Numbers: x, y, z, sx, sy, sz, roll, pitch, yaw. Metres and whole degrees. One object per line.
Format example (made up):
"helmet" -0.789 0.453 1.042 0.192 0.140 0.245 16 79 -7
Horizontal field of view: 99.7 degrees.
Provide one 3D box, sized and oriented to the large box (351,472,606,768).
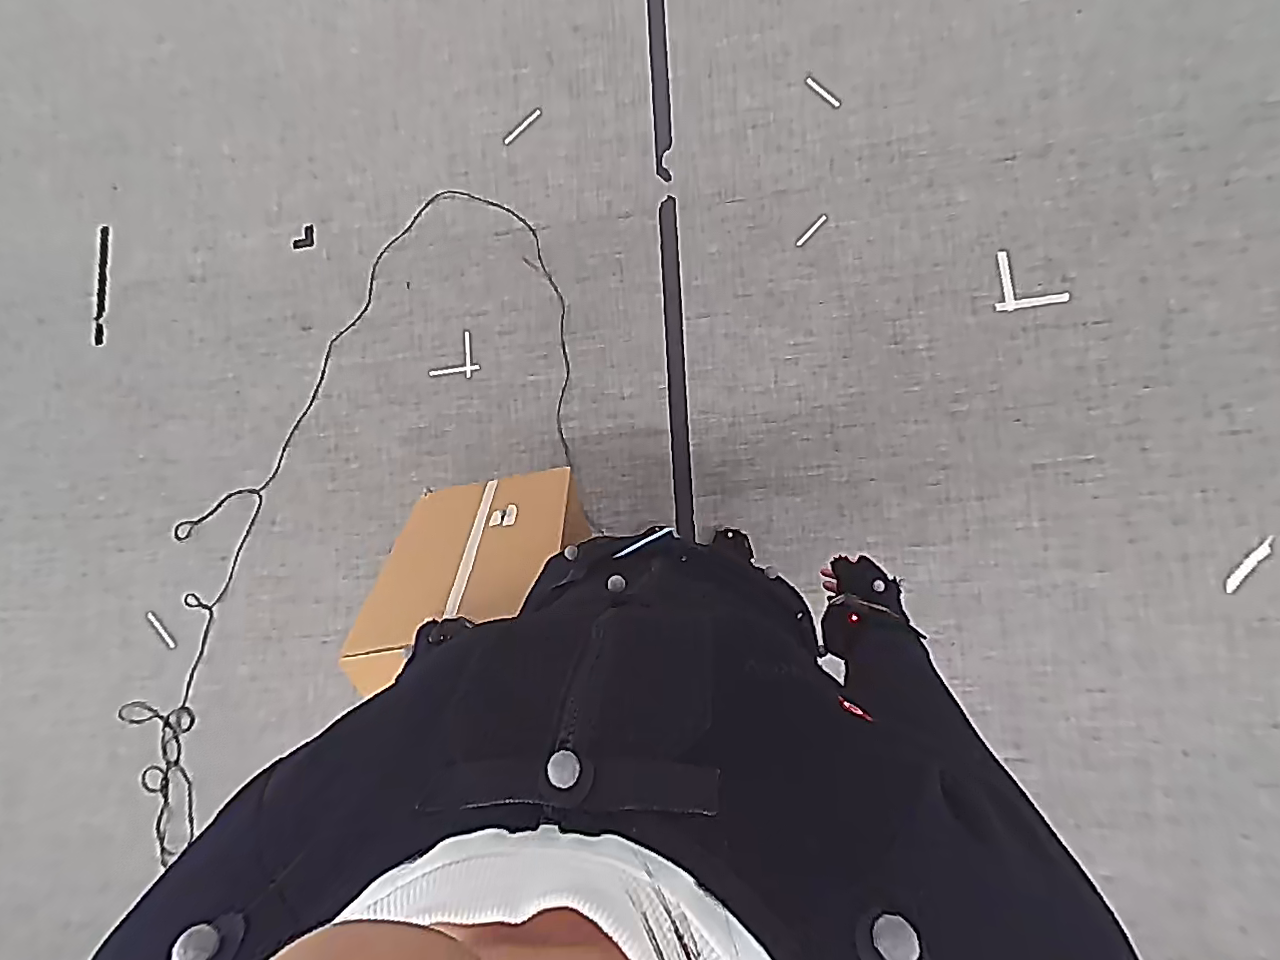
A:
"large box" -0.245 0.240 0.998 0.320 0.408 0.320 -9 122 3
